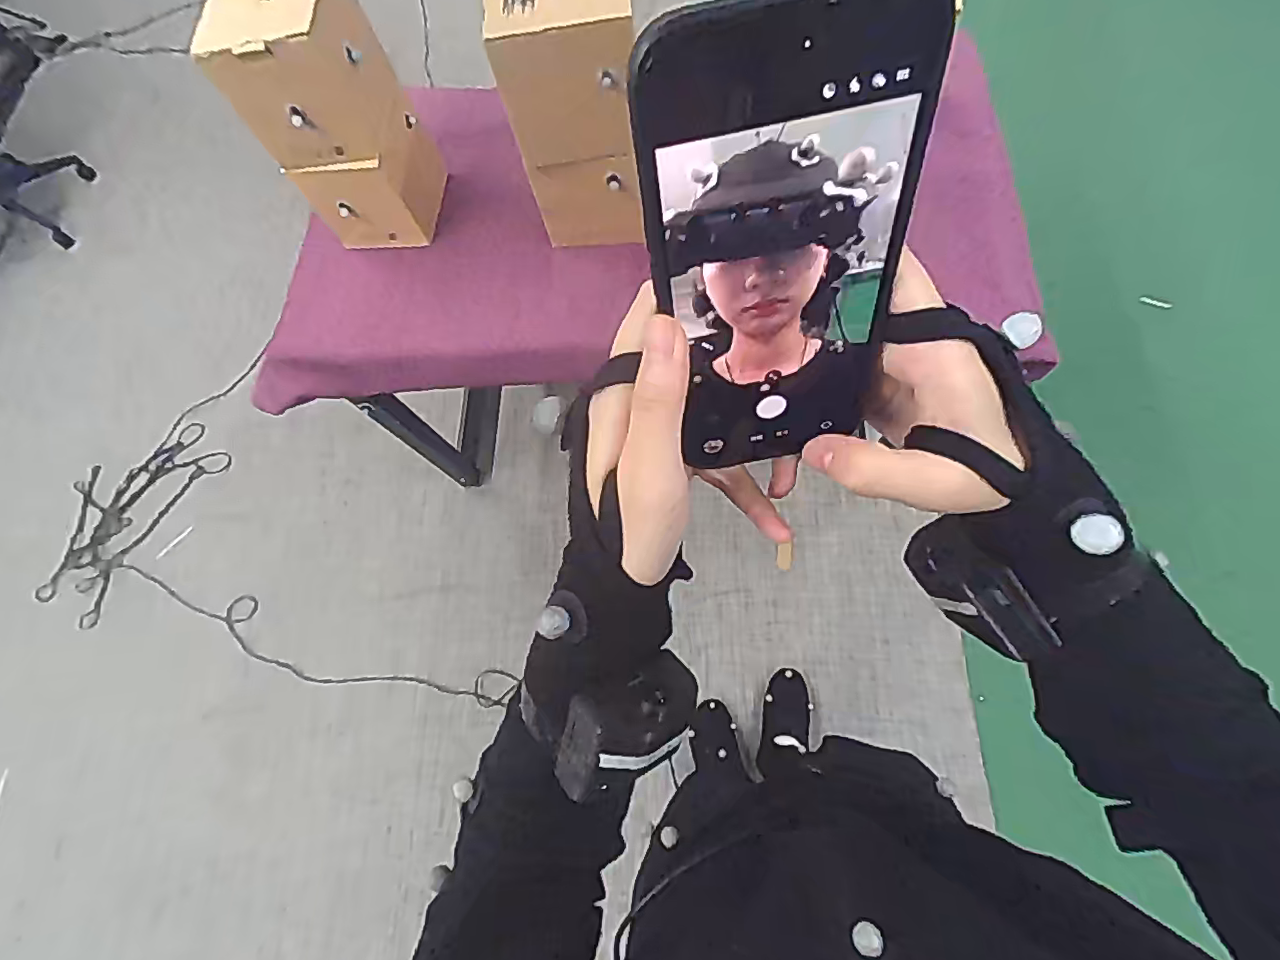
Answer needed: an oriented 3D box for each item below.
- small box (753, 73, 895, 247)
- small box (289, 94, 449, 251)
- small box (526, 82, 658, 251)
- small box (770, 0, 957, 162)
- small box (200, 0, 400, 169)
[{"bbox_3d":[0.272,-0.477,0.818,0.179,0.176,0.168,6,70,11],"label":"small box"},{"bbox_3d":[-0.451,-0.515,0.931,0.168,0.176,0.179,1,70,8],"label":"small box"},{"bbox_3d":[-0.065,-0.493,0.868,0.179,0.176,0.168,0,70,8],"label":"small box"},{"bbox_3d":[0.258,-0.520,0.660,0.179,0.176,0.168,6,70,9],"label":"small box"},{"bbox_3d":[-0.471,-0.579,0.781,0.168,0.176,0.179,-4,70,6],"label":"small box"}]
